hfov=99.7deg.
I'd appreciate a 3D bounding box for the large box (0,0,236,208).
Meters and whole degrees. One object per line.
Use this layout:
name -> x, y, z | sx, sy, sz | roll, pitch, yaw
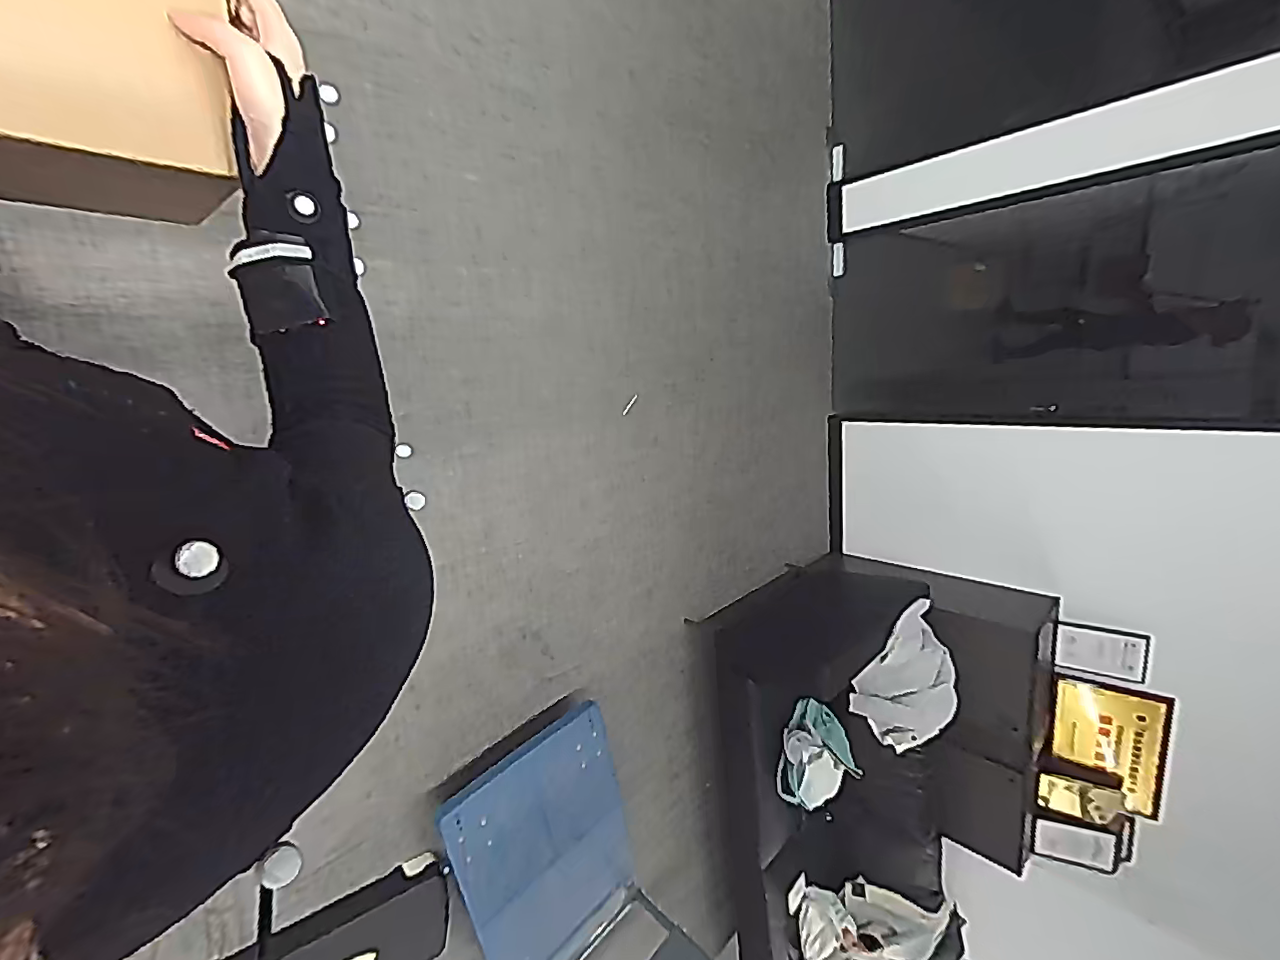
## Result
large box -> -0.547, -0.385, 0.347 | 0.408, 0.320, 0.320 | -12, 111, -41
